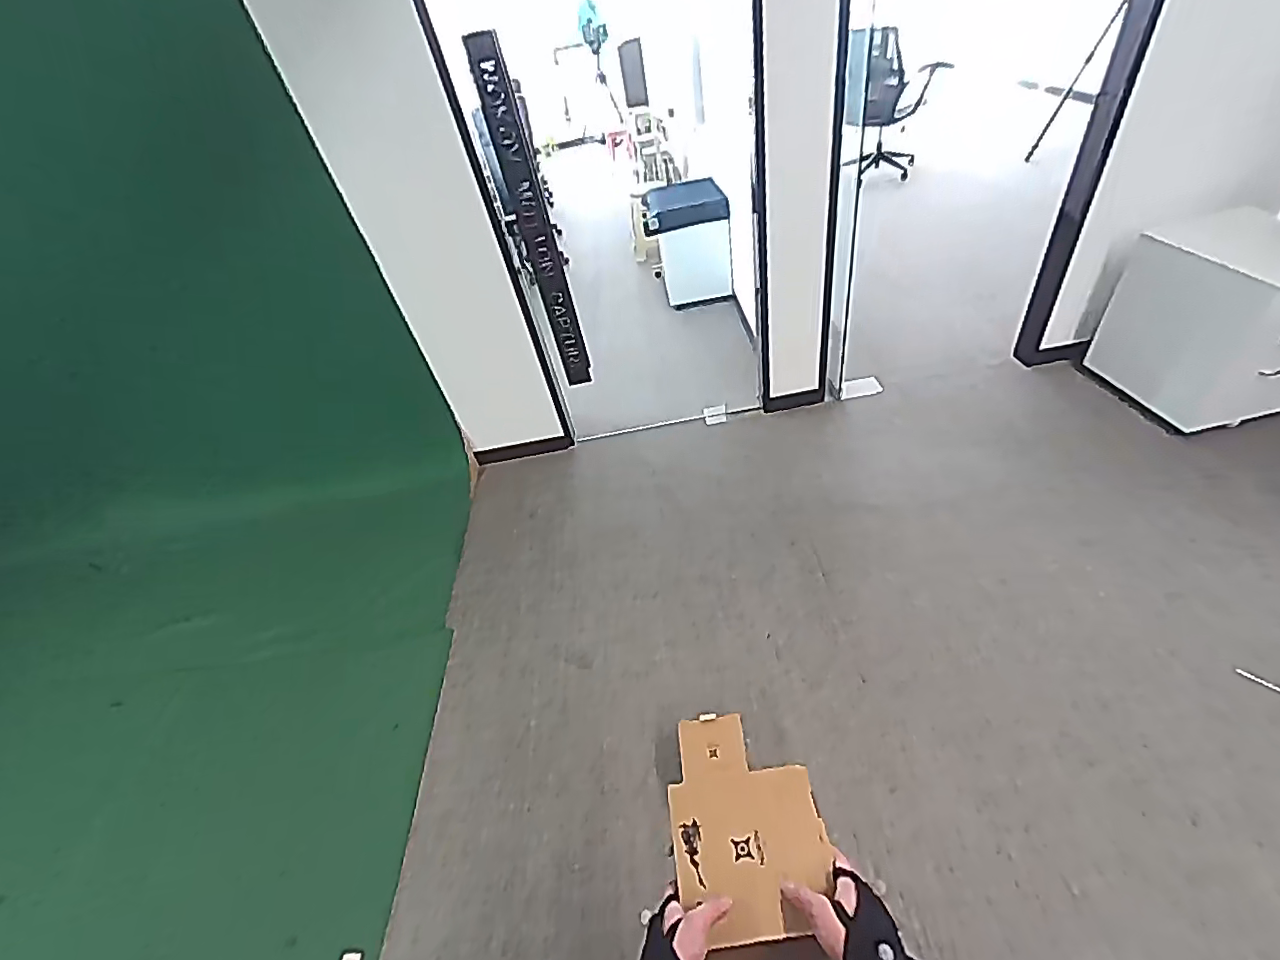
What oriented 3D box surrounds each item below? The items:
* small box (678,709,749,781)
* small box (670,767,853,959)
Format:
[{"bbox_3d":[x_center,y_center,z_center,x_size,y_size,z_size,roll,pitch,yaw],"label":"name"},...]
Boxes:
[{"bbox_3d":[0.193,0.722,1.401,0.168,0.176,0.179,-9,43,8],"label":"small box"},{"bbox_3d":[0.136,0.481,0.661,0.179,0.176,0.168,-9,37,2],"label":"small box"}]
